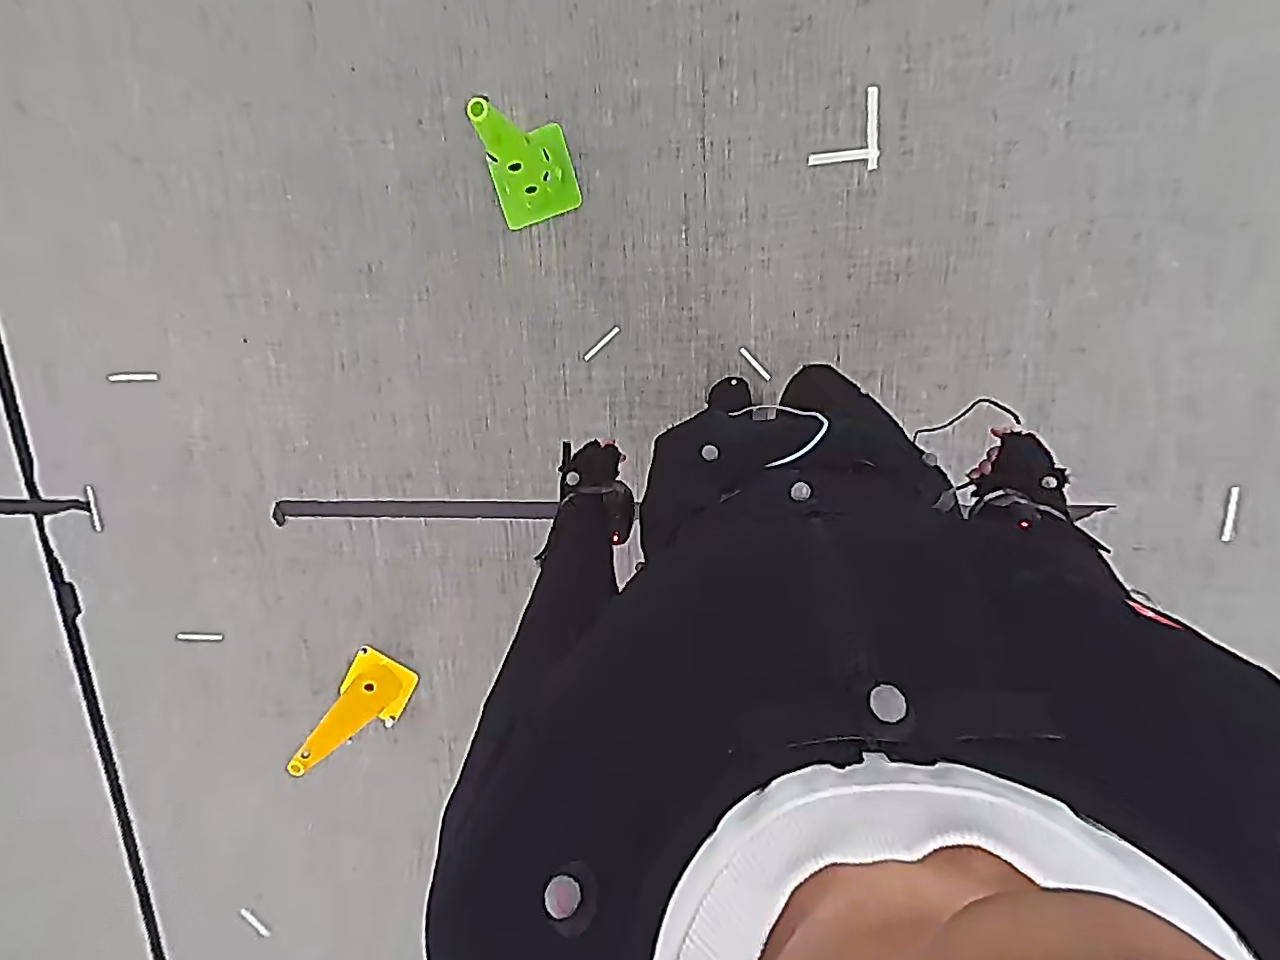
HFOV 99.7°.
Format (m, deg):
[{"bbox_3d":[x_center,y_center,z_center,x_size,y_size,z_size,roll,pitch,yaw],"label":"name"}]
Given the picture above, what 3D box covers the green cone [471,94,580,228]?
[{"bbox_3d":[-0.278,-0.710,1.158,0.202,0.368,0.200,-16,99,8],"label":"green cone"}]
